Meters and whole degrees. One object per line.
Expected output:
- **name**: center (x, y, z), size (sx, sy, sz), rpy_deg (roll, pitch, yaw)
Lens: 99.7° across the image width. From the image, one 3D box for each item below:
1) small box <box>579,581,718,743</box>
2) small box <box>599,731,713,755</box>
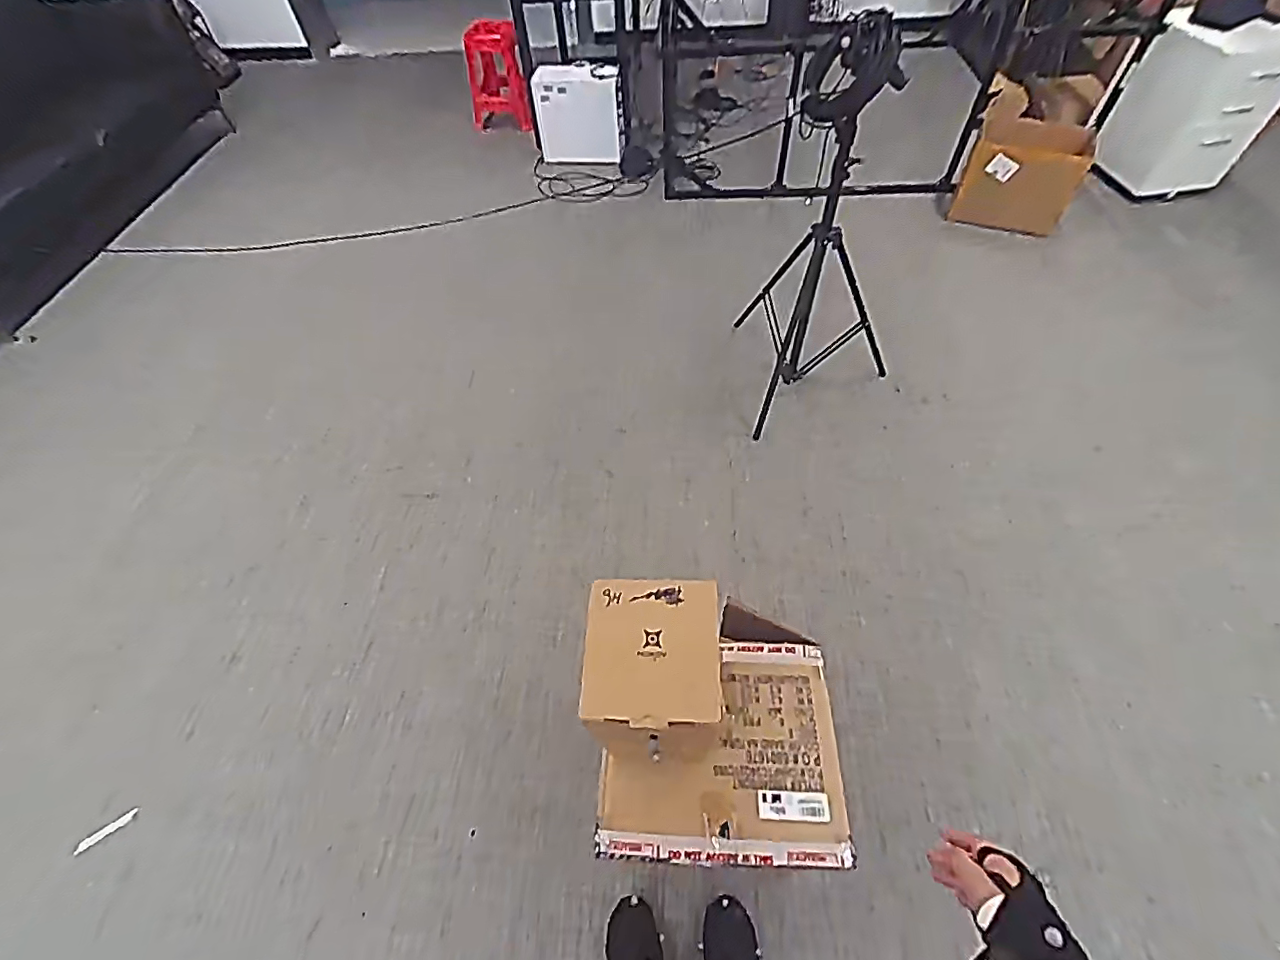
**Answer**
- **small box**: center (0.021, 0.248, 0.728), size (0.168, 0.176, 0.179), rpy_deg (0, 57, 5)
- **small box**: center (0.029, 0.332, 0.870), size (0.168, 0.176, 0.179), rpy_deg (-2, 56, 5)
